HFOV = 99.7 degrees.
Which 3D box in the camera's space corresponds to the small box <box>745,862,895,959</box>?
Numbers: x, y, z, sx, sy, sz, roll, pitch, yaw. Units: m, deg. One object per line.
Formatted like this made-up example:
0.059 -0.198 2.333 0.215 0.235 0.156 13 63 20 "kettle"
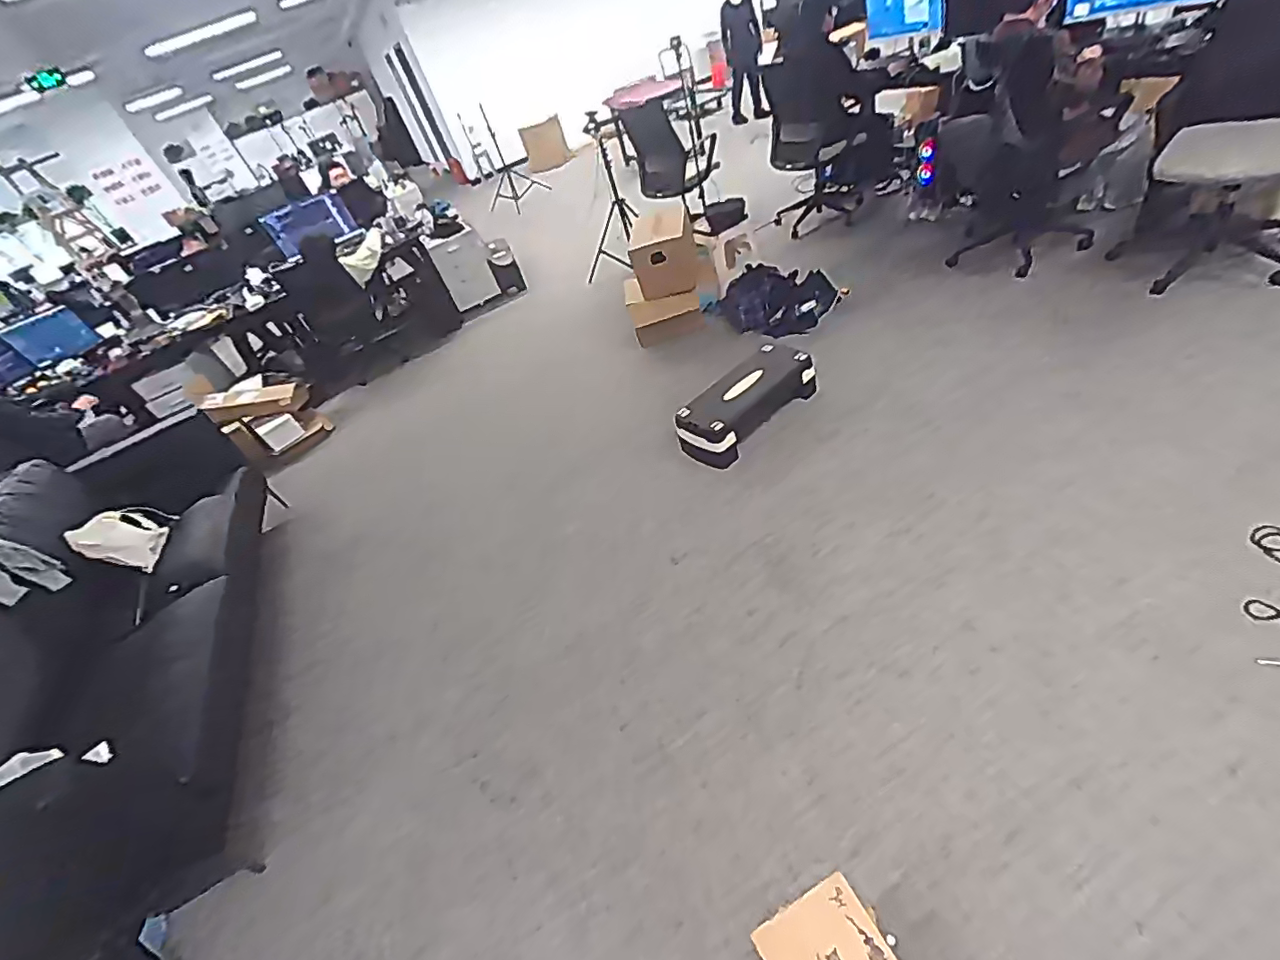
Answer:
0.295 0.752 0.850 0.179 0.176 0.168 -30 42 -6 "small box"
